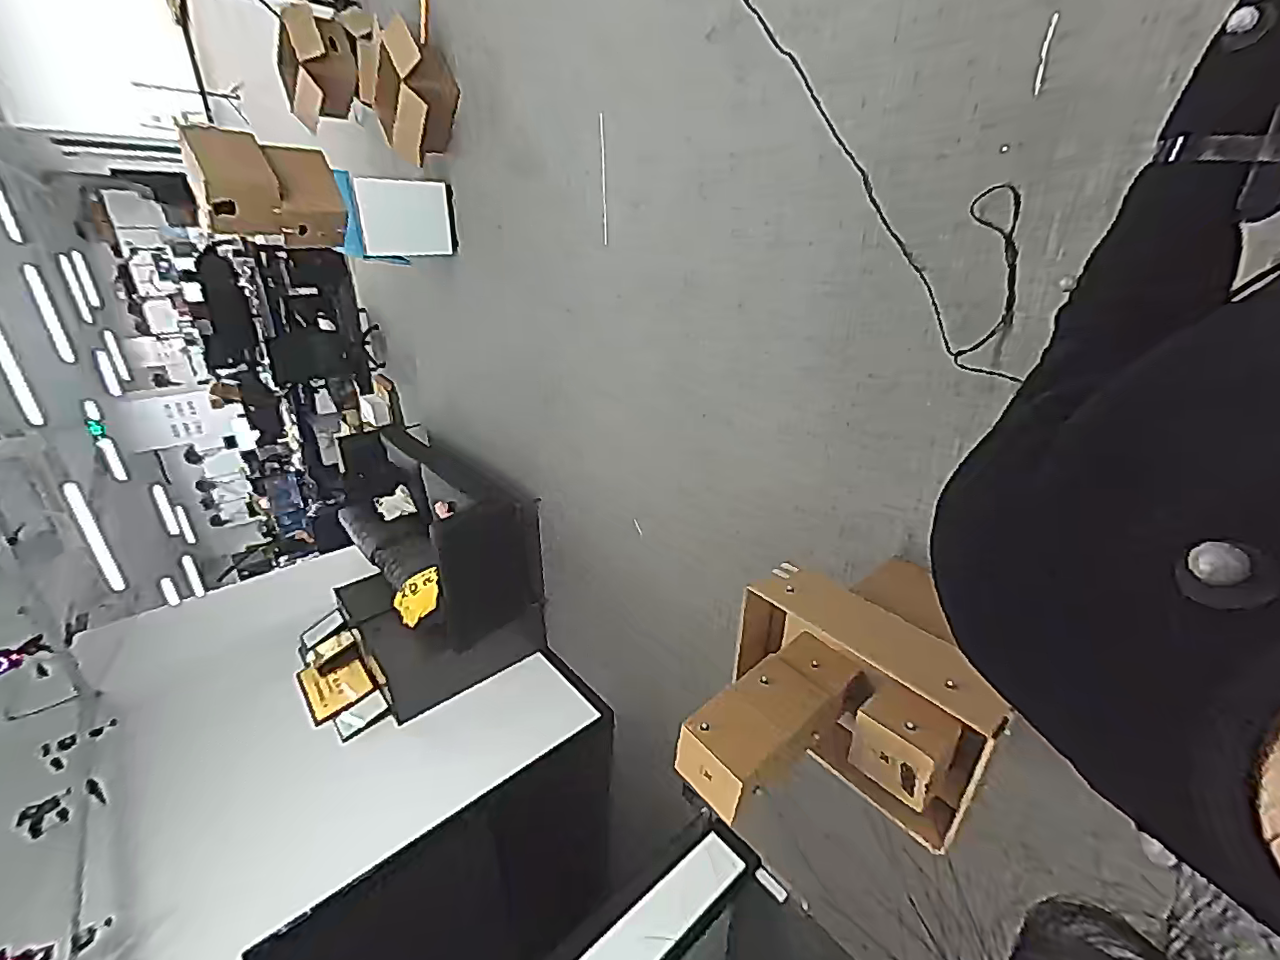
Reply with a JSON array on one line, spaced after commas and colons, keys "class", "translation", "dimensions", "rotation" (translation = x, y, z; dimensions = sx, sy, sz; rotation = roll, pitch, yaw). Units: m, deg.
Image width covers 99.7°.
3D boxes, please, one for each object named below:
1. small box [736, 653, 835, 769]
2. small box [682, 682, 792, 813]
[{"class": "small box", "translation": [0.346, 0.557, 1.335], "dimensions": [0.179, 0.176, 0.168], "rotation": [31, 130, 39]}, {"class": "small box", "translation": [0.222, 0.604, 1.243], "dimensions": [0.179, 0.176, 0.168], "rotation": [33, 131, 39]}]
